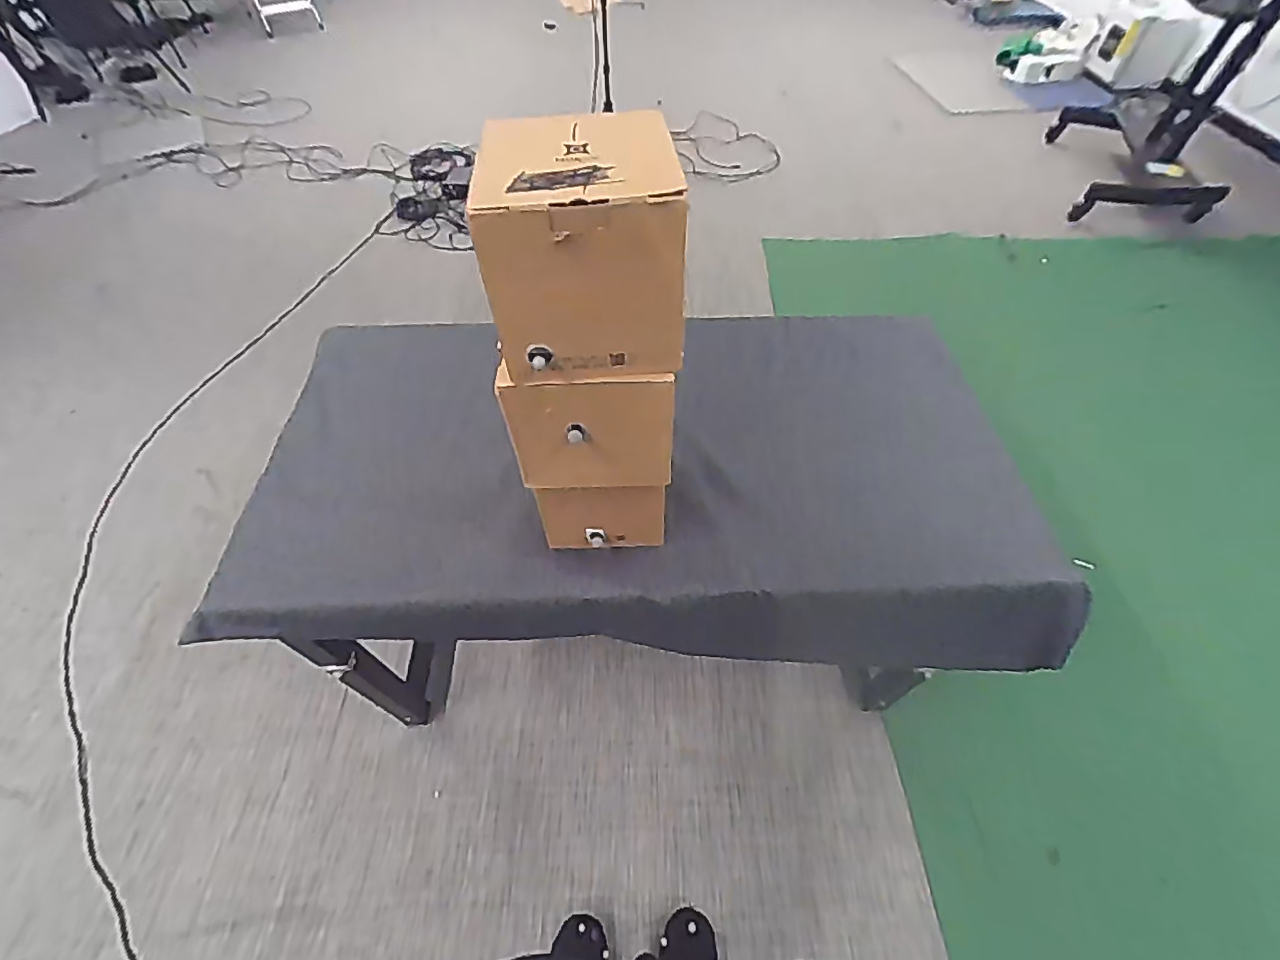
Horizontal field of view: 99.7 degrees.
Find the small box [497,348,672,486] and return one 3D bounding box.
[{"bbox_3d":[-0.057,-0.106,0.642,0.179,0.176,0.168,-4,50,-2],"label":"small box"}]

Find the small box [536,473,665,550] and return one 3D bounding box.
[{"bbox_3d":[-0.054,-0.019,0.778,0.168,0.176,0.179,-4,53,-1],"label":"small box"}]

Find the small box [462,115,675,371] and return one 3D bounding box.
[{"bbox_3d":[-0.057,-0.218,0.517,0.168,0.176,0.179,-5,51,-2],"label":"small box"}]
